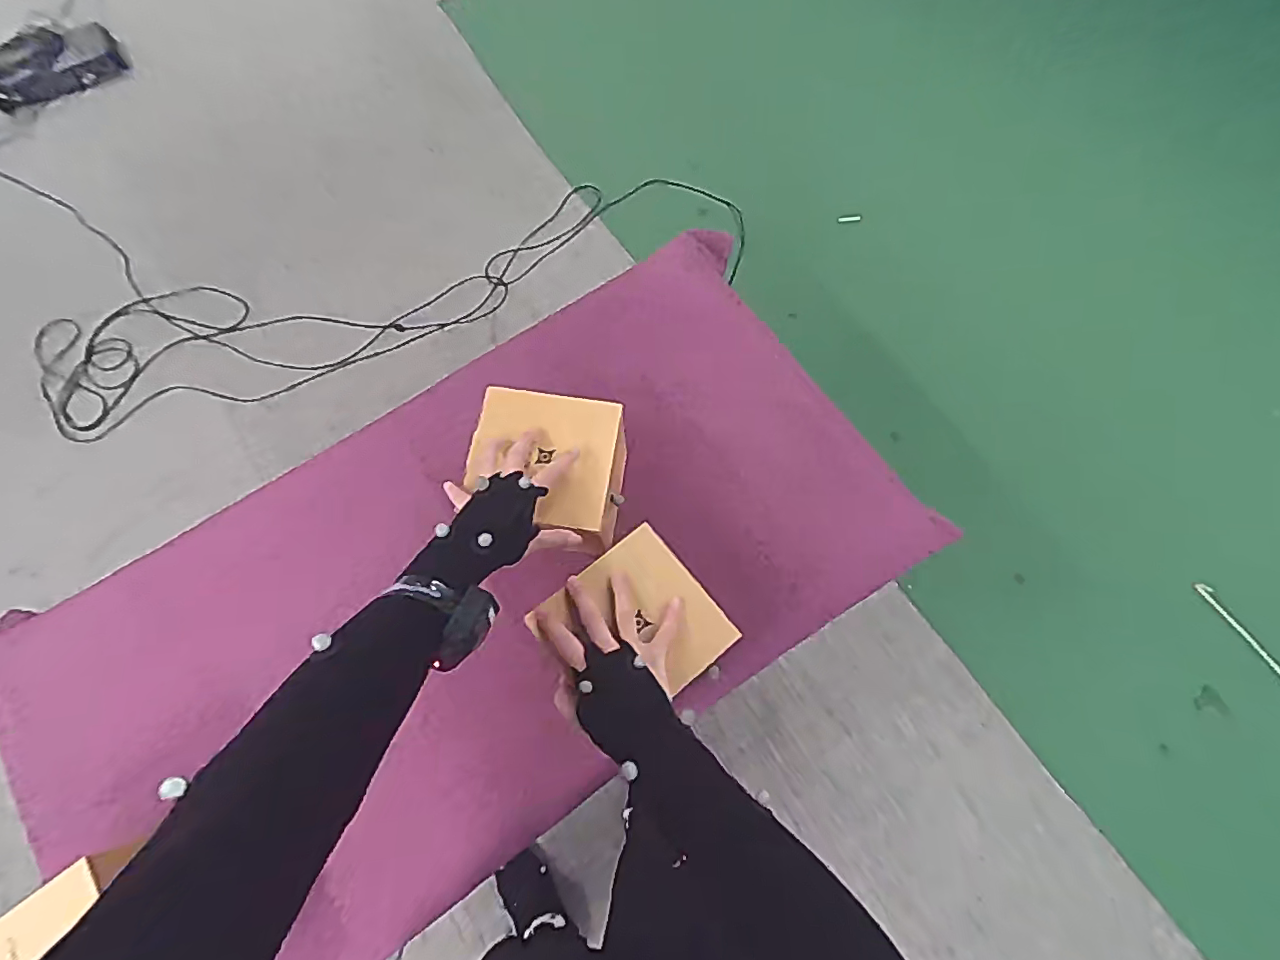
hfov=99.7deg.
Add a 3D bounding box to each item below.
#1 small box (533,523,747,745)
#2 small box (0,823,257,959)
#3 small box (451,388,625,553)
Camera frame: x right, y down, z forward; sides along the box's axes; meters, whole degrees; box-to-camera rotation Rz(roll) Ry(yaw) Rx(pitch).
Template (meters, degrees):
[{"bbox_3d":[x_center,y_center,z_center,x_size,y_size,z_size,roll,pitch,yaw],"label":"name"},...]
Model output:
[{"bbox_3d":[-0.001,0.182,0.652,0.179,0.176,0.168,-37,74,-11],"label":"small box"},{"bbox_3d":[-0.556,0.508,0.568,0.168,0.176,0.179,-36,73,-10],"label":"small box"},{"bbox_3d":[-0.119,-0.003,0.719,0.179,0.176,0.168,8,74,5],"label":"small box"}]
